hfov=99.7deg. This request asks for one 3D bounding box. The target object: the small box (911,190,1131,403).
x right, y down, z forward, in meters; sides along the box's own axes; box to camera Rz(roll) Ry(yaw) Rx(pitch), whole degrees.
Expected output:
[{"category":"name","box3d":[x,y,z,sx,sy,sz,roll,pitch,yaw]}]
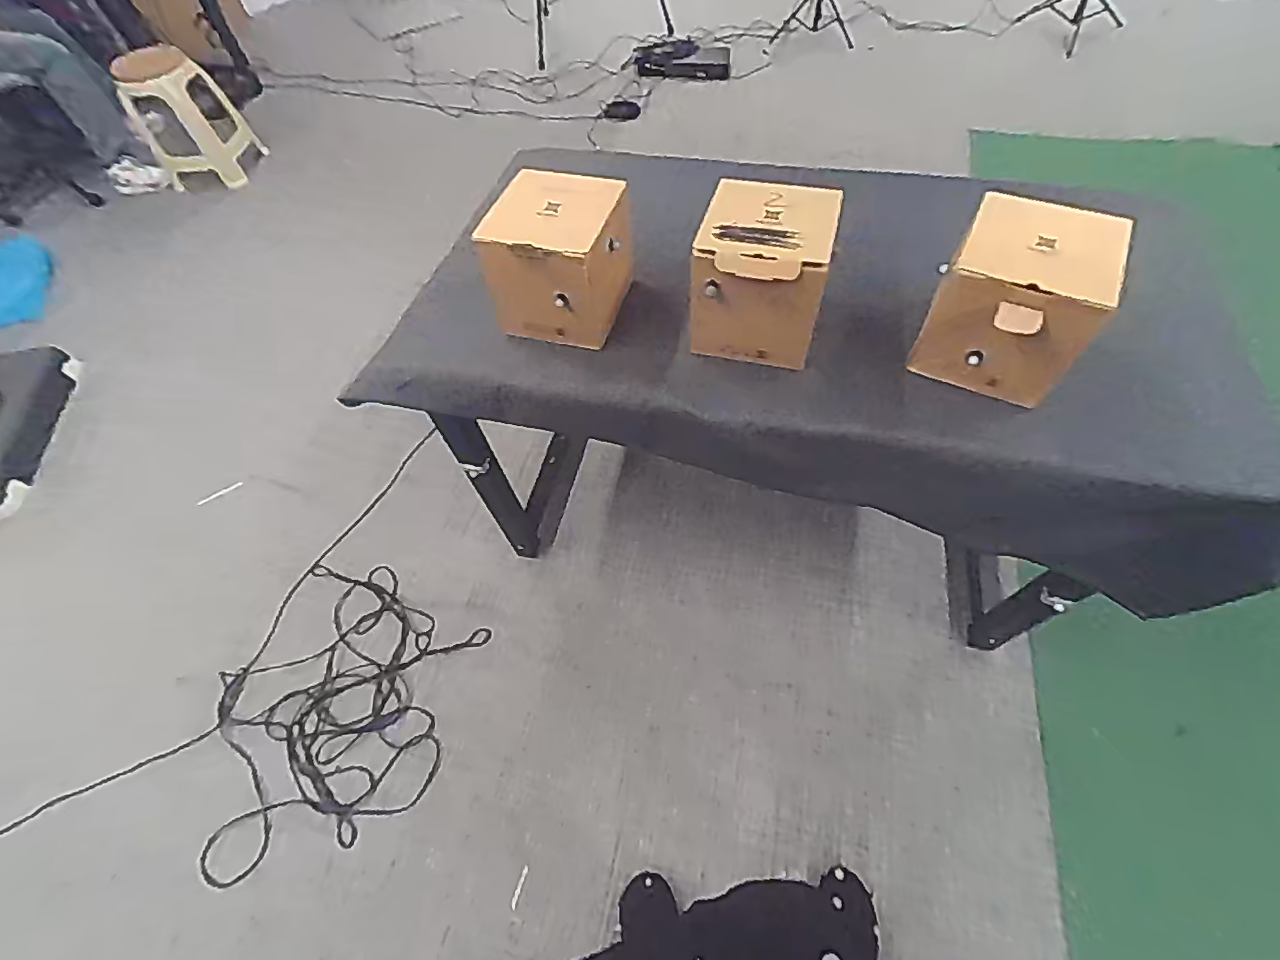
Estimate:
[{"category":"small box","box3d":[0.478,-0.233,0.698,0.168,0.176,0.179,23,62,18]}]

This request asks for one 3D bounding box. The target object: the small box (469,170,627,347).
[{"category":"small box","box3d":[-0.119,-0.322,0.798,0.168,0.176,0.179,13,58,10]}]
